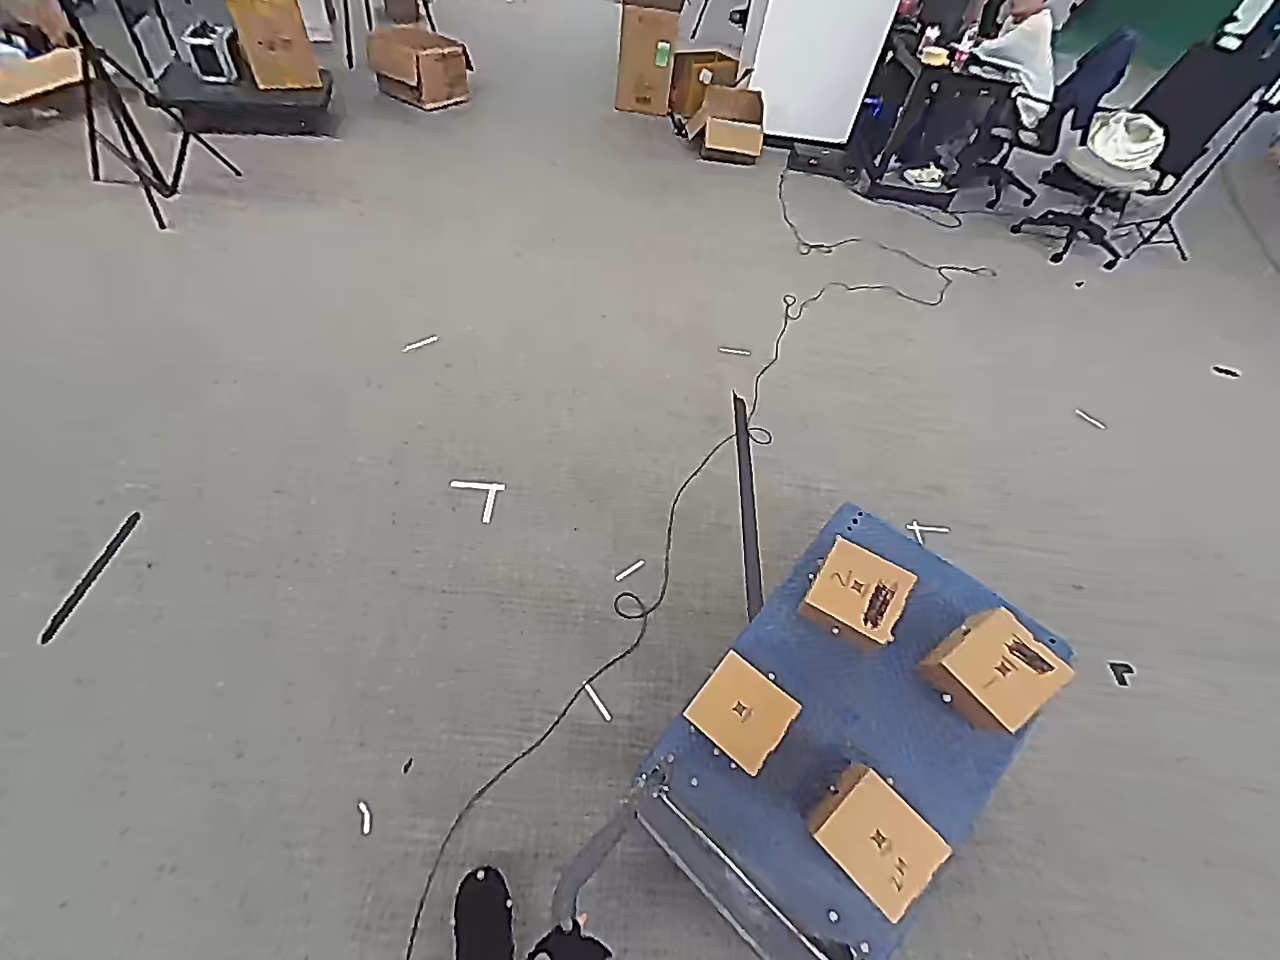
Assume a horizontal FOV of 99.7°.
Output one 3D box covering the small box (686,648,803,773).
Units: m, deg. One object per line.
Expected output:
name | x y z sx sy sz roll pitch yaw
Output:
small box | 0.218 0.488 1.153 0.179 0.176 0.168 37 77 20

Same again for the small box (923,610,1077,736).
small box | 0.721 0.394 1.109 0.179 0.176 0.168 -38 67 -6

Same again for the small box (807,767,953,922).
small box | 0.444 0.678 1.035 0.168 0.176 0.179 -43 67 -9
